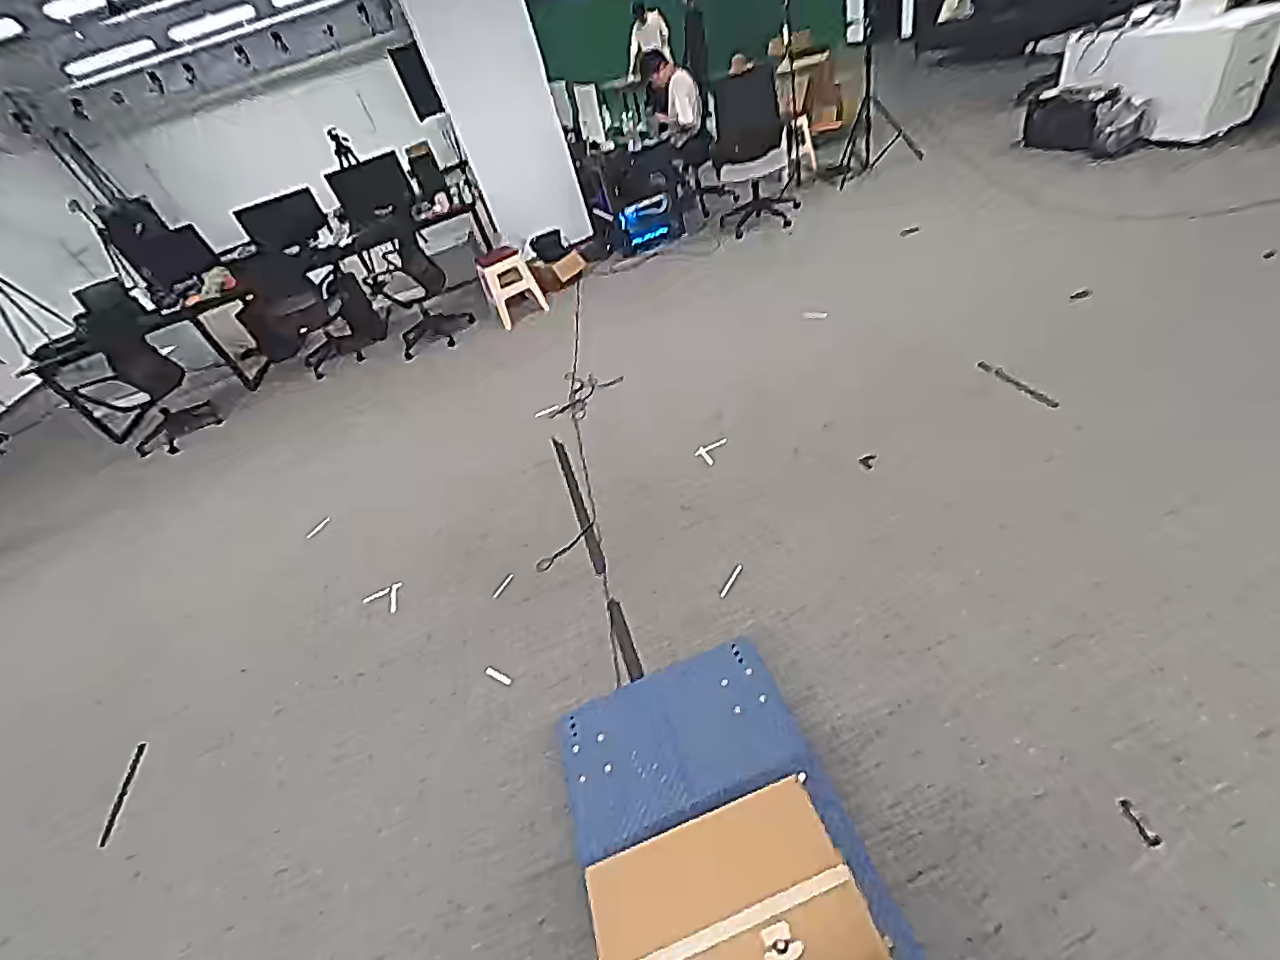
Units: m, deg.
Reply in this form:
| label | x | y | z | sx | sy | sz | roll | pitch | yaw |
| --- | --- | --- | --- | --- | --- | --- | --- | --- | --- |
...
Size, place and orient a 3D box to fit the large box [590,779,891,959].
| label | x | y | z | sx | sy | sz | roll | pitch | yaw |
| --- | --- | --- | --- | --- | --- | --- | --- | --- | --- |
| large box | 0.174 | 0.798 | 0.917 | 0.408 | 0.320 | 0.320 | -22 | 40 | -4 |
